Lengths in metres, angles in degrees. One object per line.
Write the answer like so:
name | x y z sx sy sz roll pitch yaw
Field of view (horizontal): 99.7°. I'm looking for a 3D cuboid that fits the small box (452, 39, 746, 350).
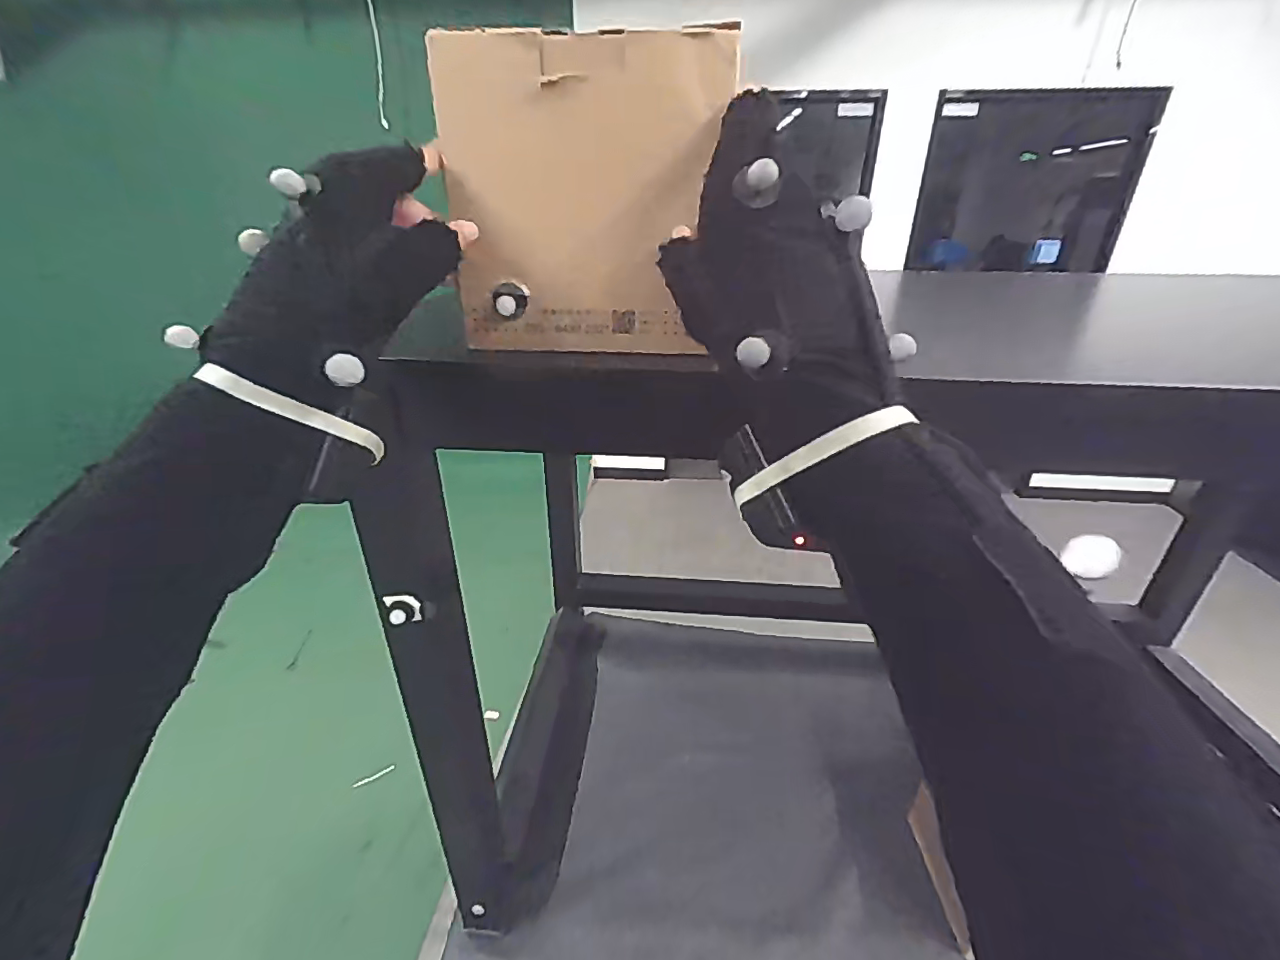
small box | -0.018 -0.195 0.400 0.168 0.176 0.179 2 25 2
